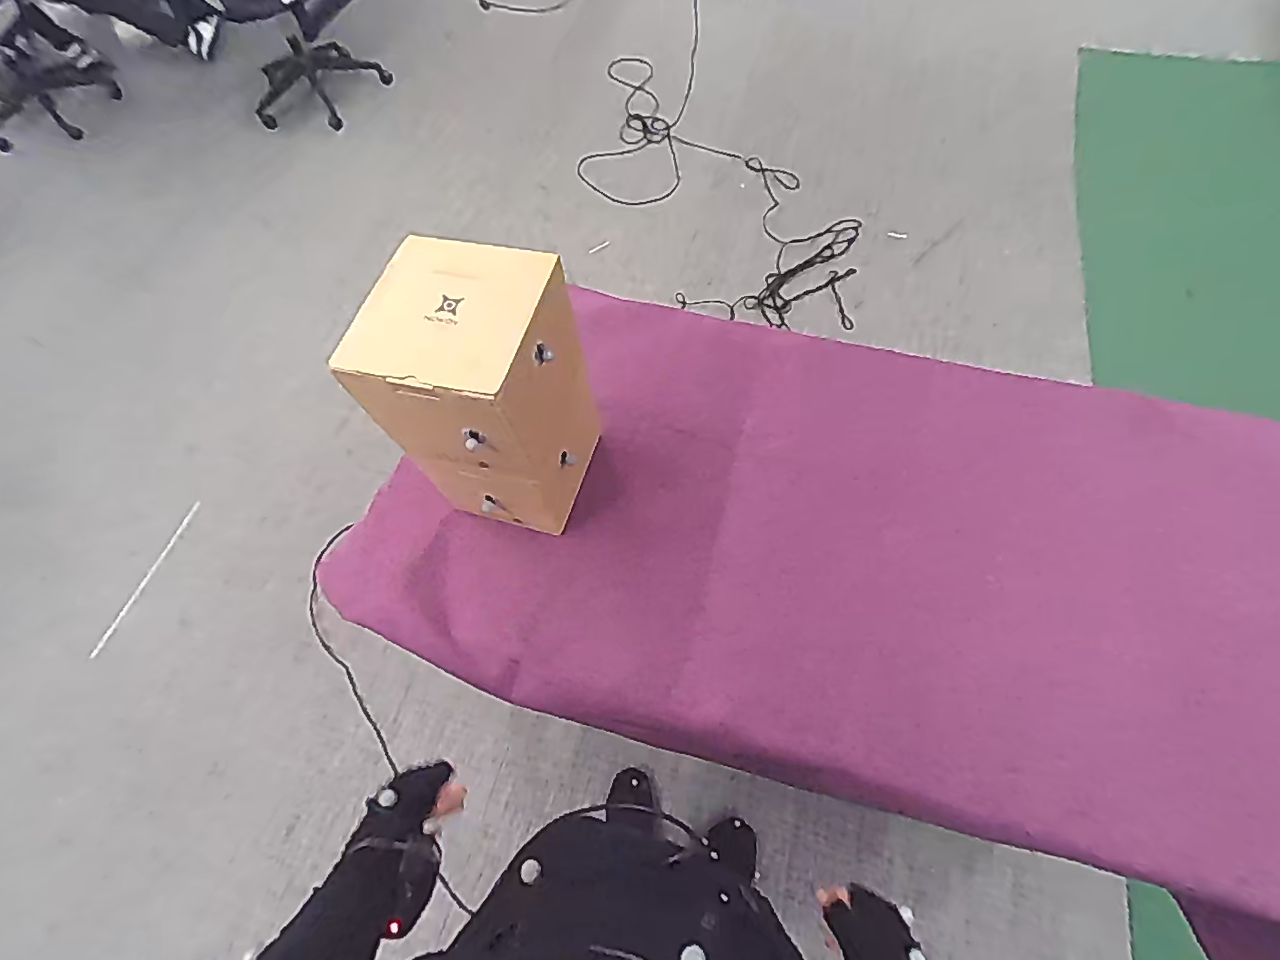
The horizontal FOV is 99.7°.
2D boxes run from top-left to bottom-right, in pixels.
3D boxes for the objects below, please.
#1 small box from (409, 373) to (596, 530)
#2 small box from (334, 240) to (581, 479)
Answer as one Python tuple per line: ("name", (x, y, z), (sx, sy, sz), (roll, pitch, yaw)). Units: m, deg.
("small box", (-0.166, -0.051, 0.724), (0.168, 0.176, 0.179), (13, 65, 10))
("small box", (-0.171, -0.120, 0.576), (0.168, 0.176, 0.179), (11, 64, 10))
